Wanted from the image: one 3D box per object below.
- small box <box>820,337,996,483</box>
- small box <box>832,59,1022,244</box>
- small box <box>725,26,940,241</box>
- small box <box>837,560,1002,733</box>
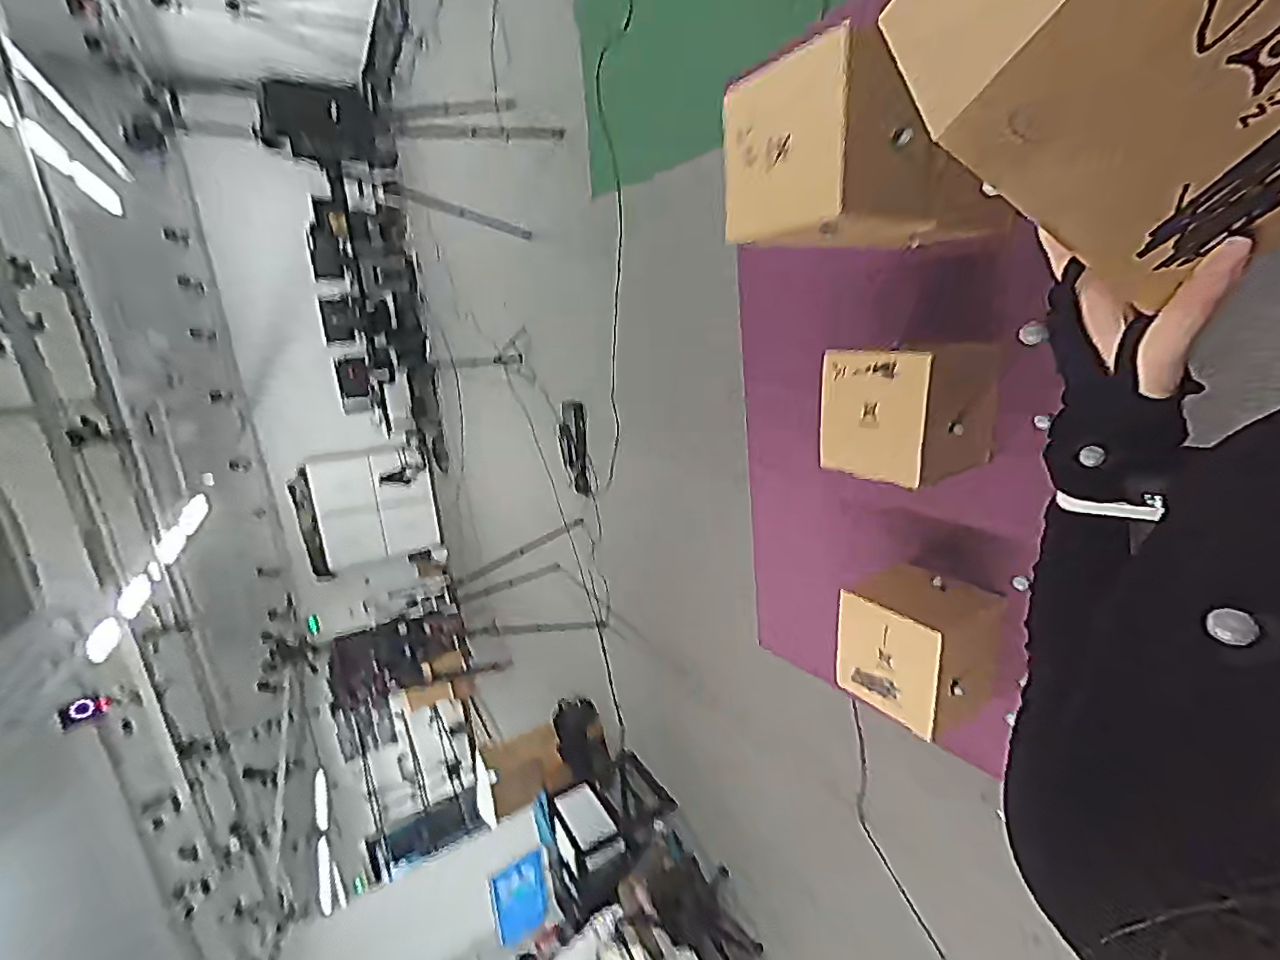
[{"bbox_3d":[0.386,-0.111,0.788,0.168,0.176,0.179,21,120,56],"label":"small box"},{"bbox_3d":[0.360,-0.413,0.716,0.179,0.176,0.168,22,120,55],"label":"small box"},{"bbox_3d":[0.220,-0.382,0.634,0.179,0.176,0.168,21,119,56],"label":"small box"},{"bbox_3d":[0.433,0.247,0.847,0.168,0.176,0.179,21,118,56],"label":"small box"}]
